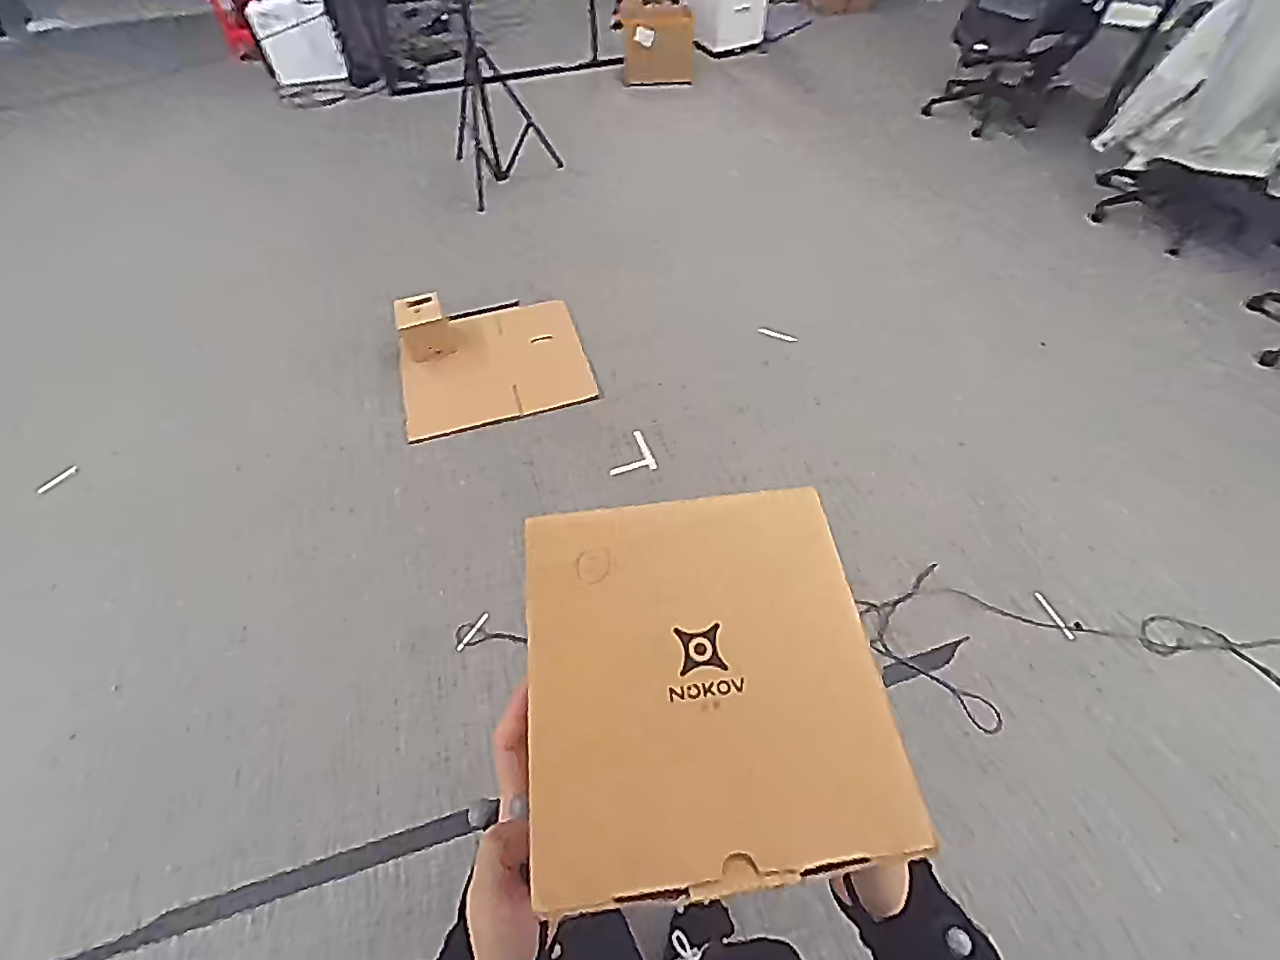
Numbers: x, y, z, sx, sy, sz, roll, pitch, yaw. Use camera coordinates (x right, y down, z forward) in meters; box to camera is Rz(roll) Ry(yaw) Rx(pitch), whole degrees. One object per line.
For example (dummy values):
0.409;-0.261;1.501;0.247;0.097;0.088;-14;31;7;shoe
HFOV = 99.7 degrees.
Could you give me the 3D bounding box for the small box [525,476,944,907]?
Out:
0.028;0.120;0.318;0.168;0.176;0.179;-7;59;-5;small box
